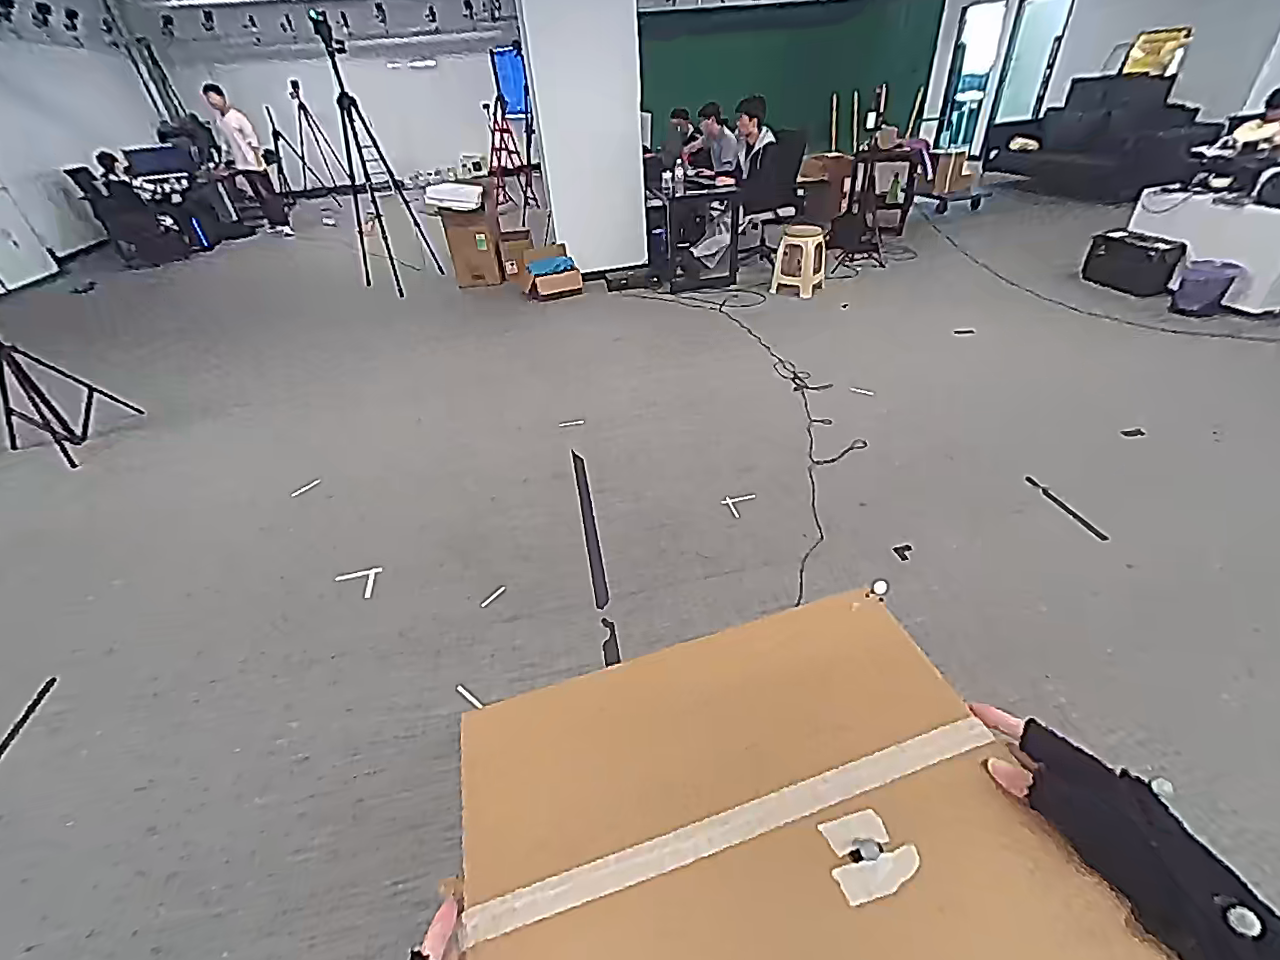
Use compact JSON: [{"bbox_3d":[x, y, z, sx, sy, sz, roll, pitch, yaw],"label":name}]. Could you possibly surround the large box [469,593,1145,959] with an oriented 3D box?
[{"bbox_3d":[0.091,0.370,0.498,0.408,0.320,0.320,-15,40,-10],"label":"large box"}]
